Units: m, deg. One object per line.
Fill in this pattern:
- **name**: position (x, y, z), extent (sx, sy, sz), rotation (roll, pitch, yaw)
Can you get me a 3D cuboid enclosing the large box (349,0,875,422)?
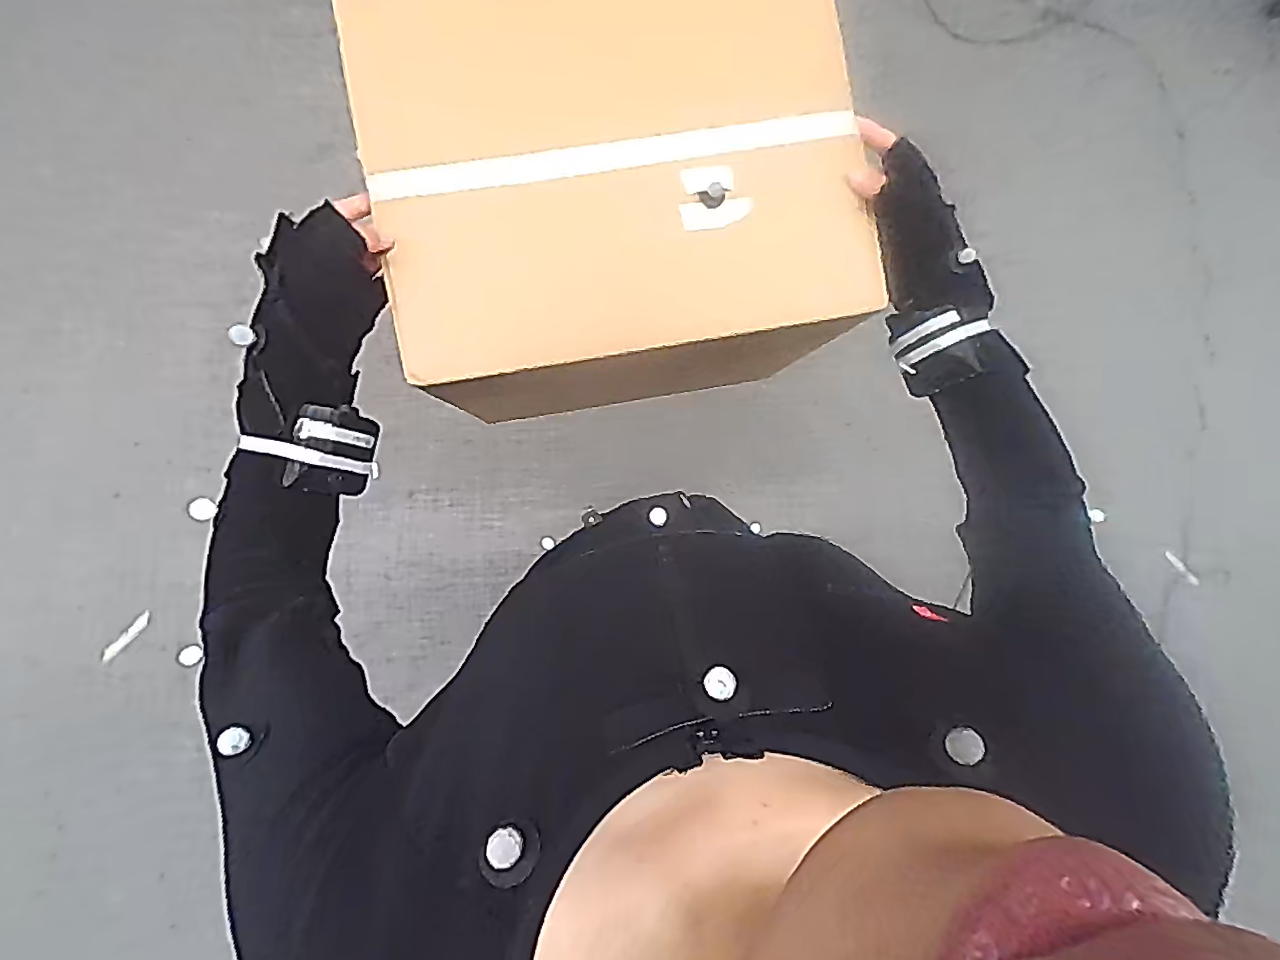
- **large box**: position (-0.029, -0.268, 0.603), extent (0.408, 0.320, 0.320), rotation (-11, 91, -5)
